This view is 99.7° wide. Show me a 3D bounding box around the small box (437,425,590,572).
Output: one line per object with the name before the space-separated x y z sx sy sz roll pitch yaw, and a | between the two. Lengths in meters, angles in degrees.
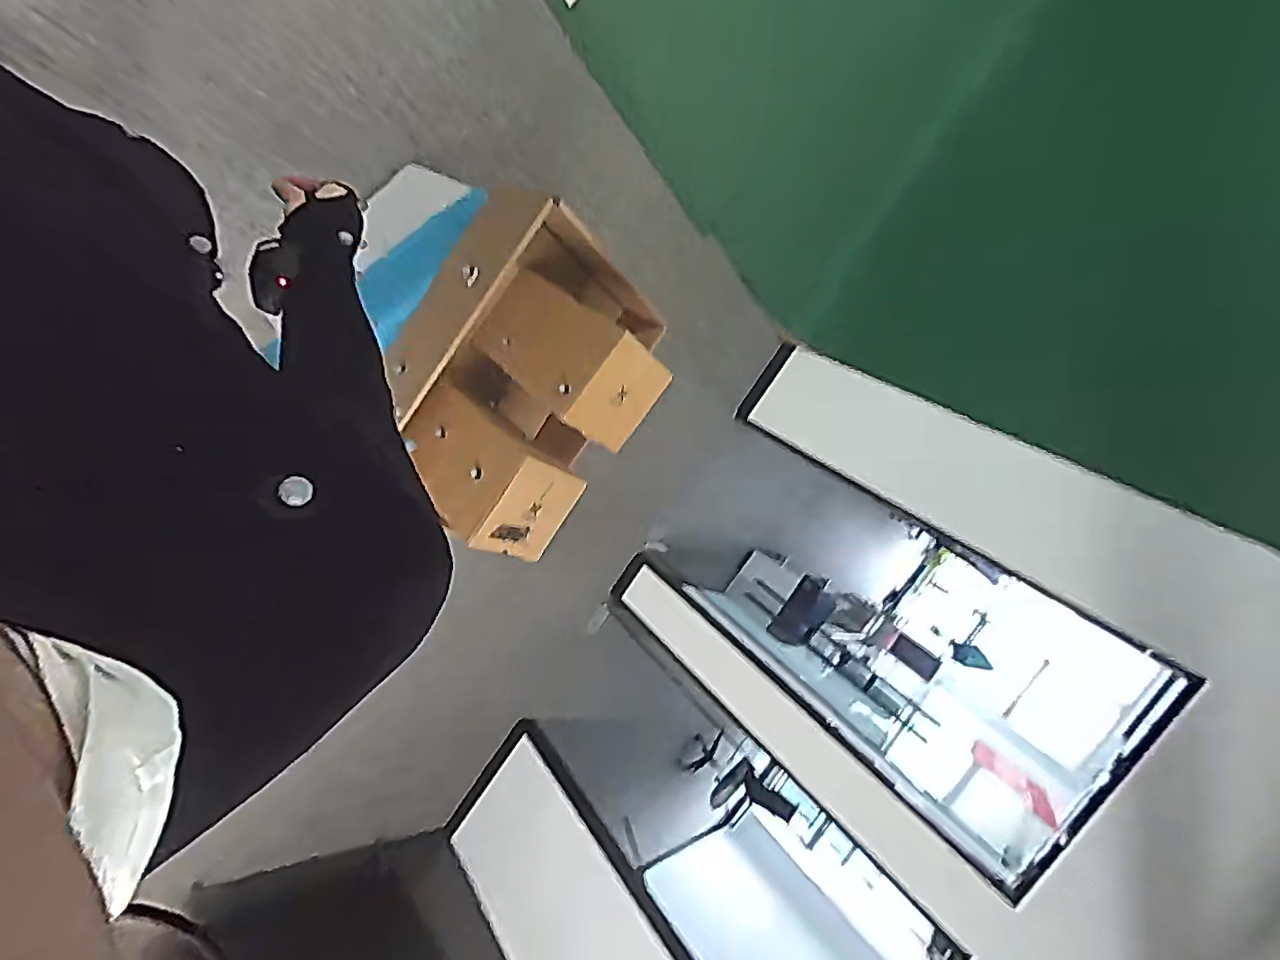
small box | -0.228 0.033 0.950 0.179 0.176 0.168 -56 145 3

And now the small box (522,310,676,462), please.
small box | -0.076 -0.167 0.954 0.179 0.176 0.168 -52 145 5

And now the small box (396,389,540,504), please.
small box | -0.335 -0.049 1.044 0.179 0.176 0.168 -55 144 2
